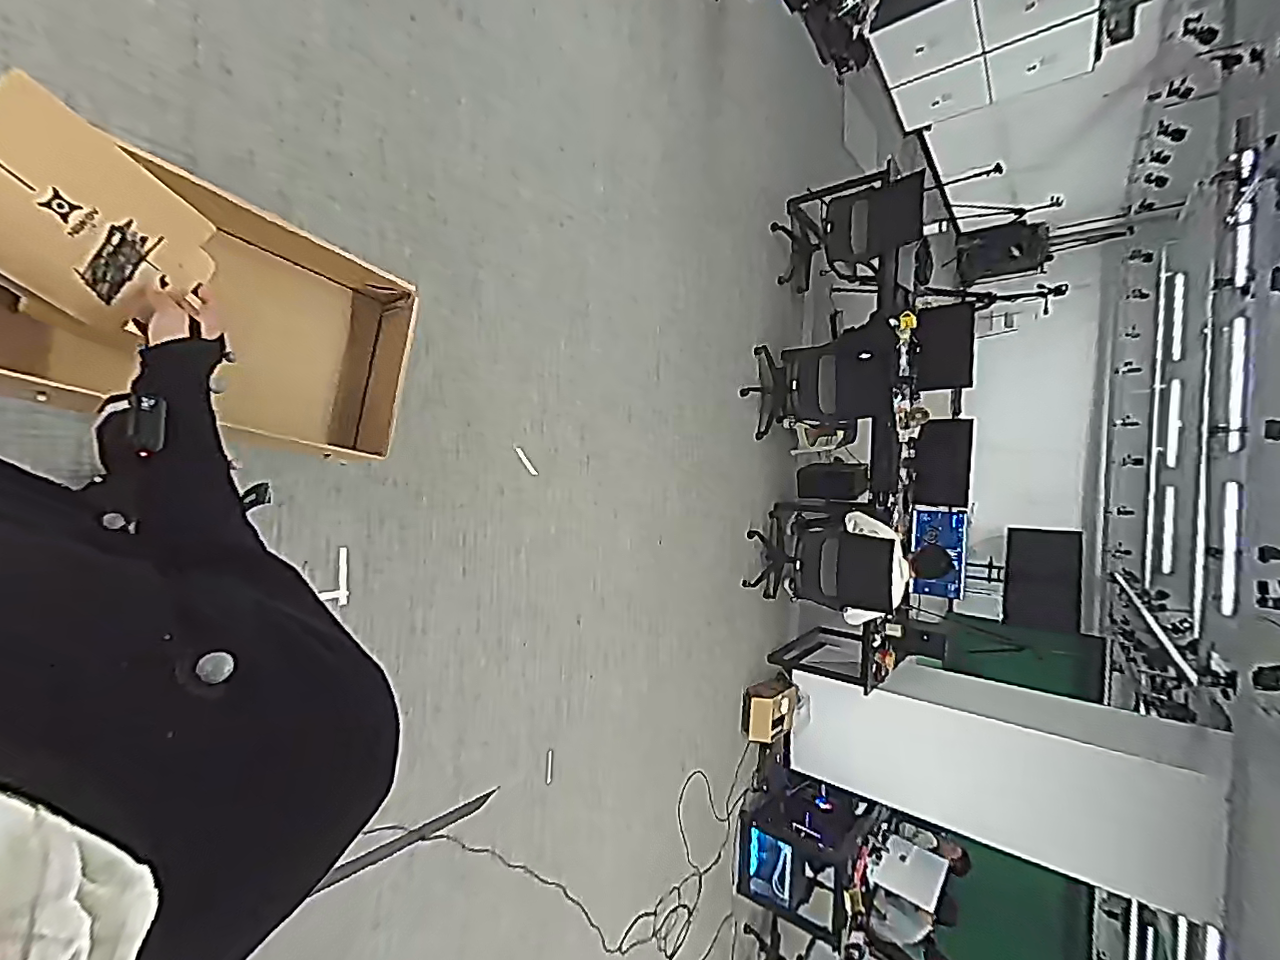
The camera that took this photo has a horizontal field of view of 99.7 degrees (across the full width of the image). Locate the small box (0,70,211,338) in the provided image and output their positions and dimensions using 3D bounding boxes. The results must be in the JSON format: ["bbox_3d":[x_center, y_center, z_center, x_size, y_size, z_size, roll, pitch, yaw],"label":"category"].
[{"bbox_3d":[-0.616,-0.275,0.566,0.168,0.176,0.179,-62,143,-17],"label":"small box"}]
